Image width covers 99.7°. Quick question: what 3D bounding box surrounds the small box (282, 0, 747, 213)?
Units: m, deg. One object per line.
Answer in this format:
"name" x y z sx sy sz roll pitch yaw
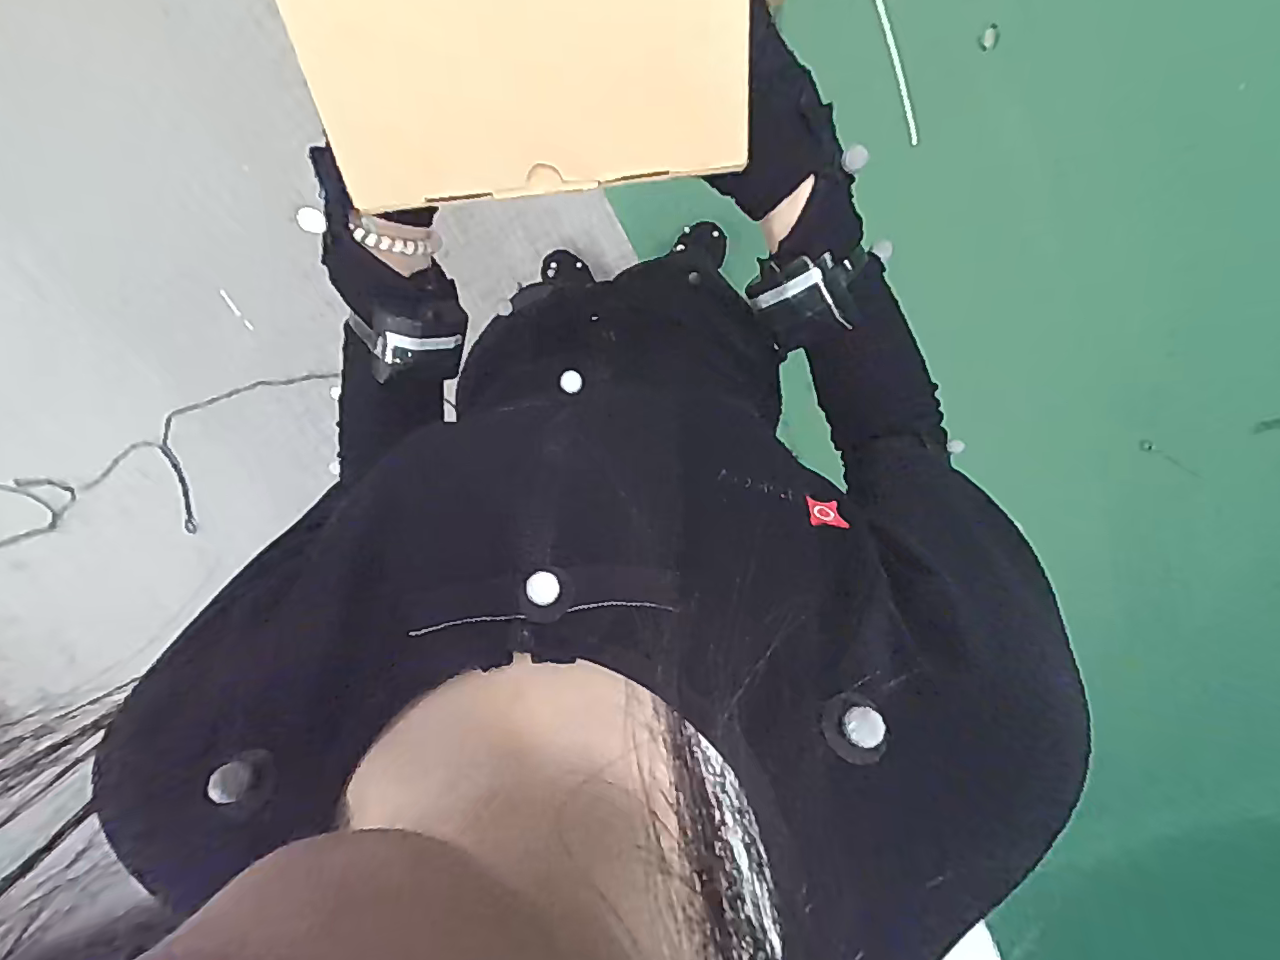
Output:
"small box" -0.046 -0.237 0.240 0.168 0.176 0.179 -4 127 5
